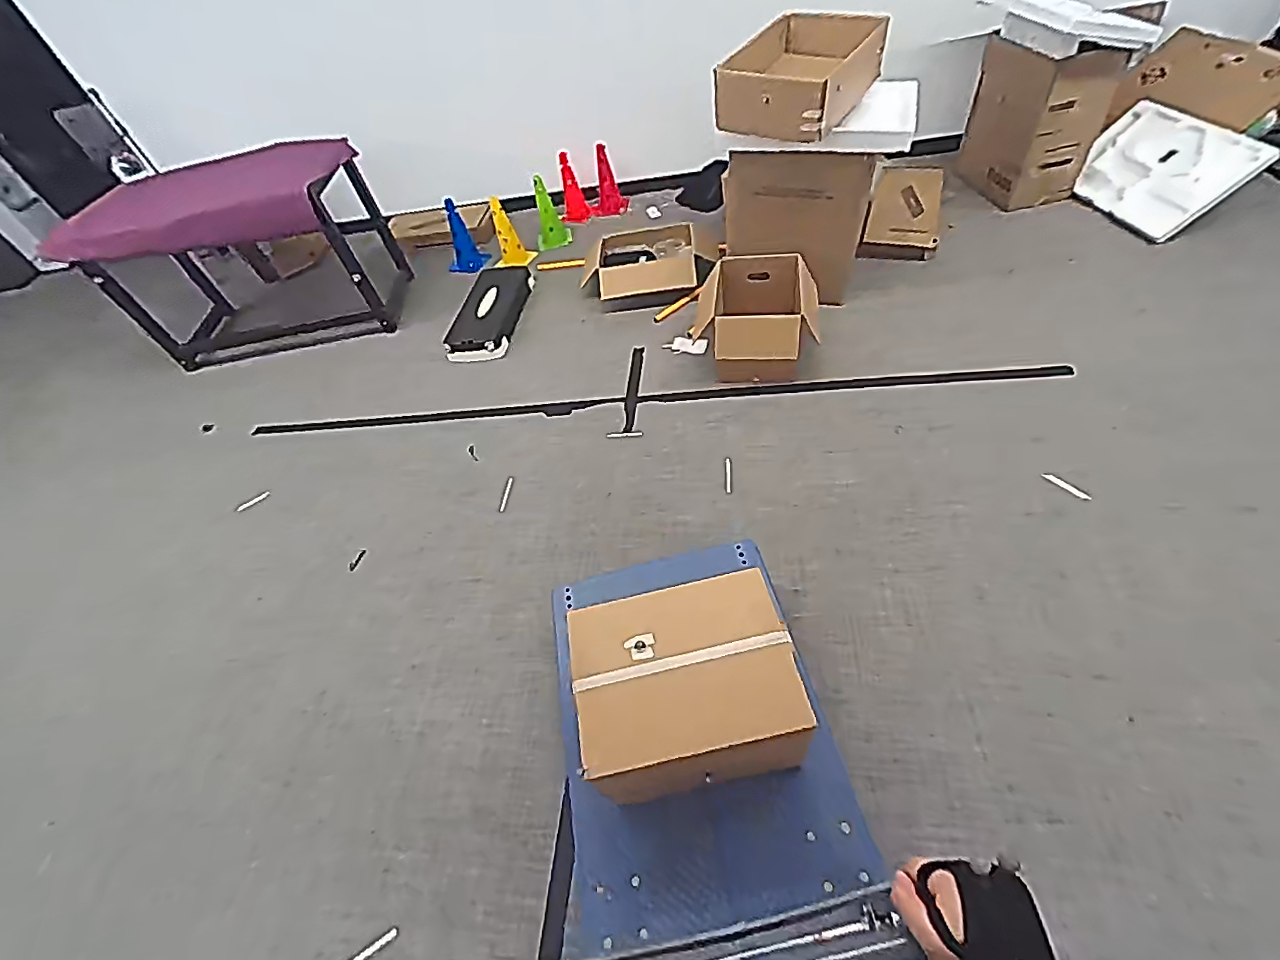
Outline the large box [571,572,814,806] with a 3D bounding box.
[{"bbox_3d":[0.103,0.442,1.125,0.408,0.320,0.320,-15,50,1],"label":"large box"}]
